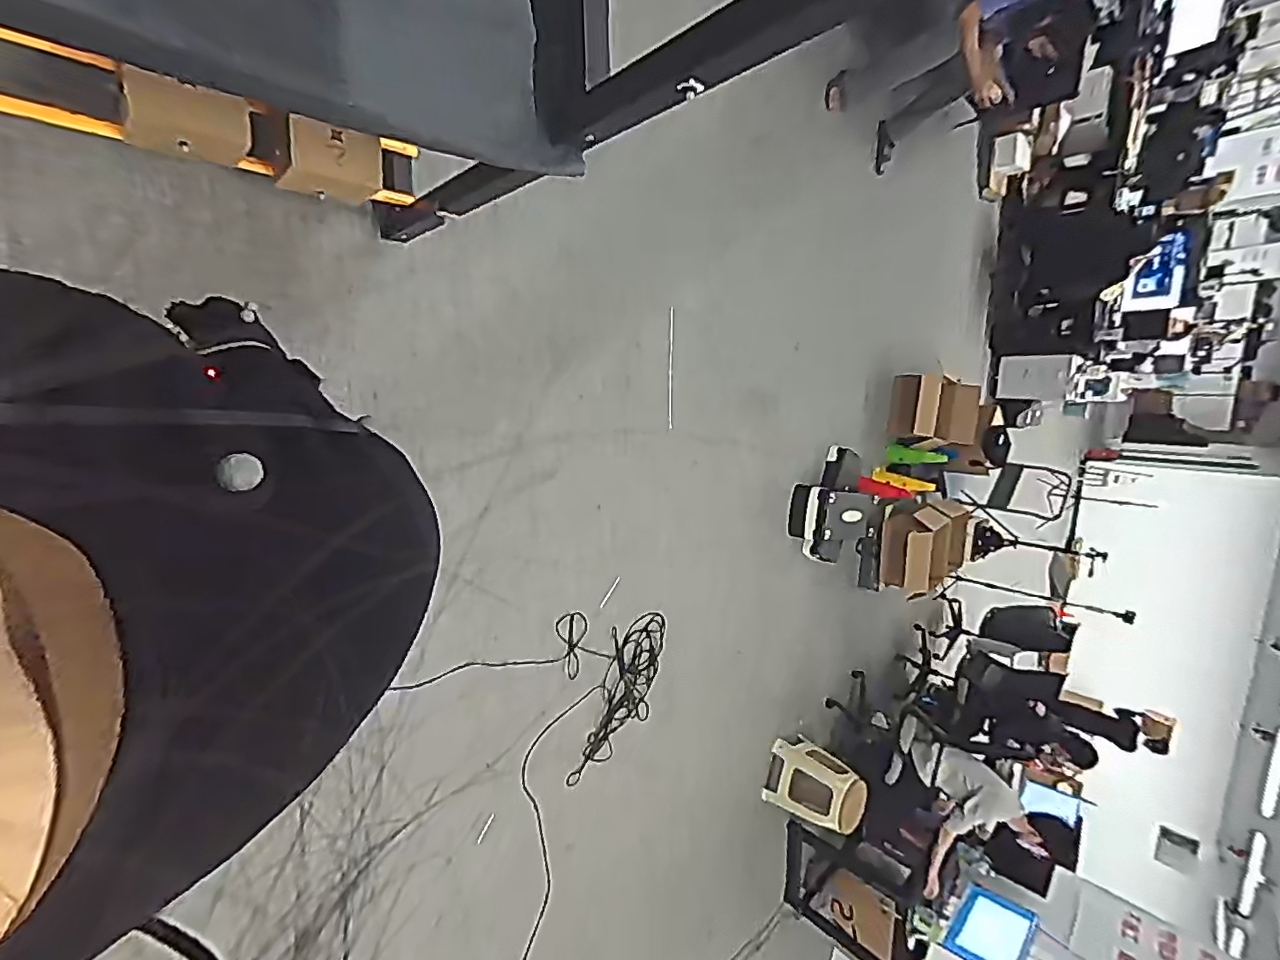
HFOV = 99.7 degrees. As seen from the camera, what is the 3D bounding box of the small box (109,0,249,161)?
[{"bbox_3d":[-0.807,-0.692,0.951,0.168,0.176,0.179,-9,105,-43],"label":"small box"}]
